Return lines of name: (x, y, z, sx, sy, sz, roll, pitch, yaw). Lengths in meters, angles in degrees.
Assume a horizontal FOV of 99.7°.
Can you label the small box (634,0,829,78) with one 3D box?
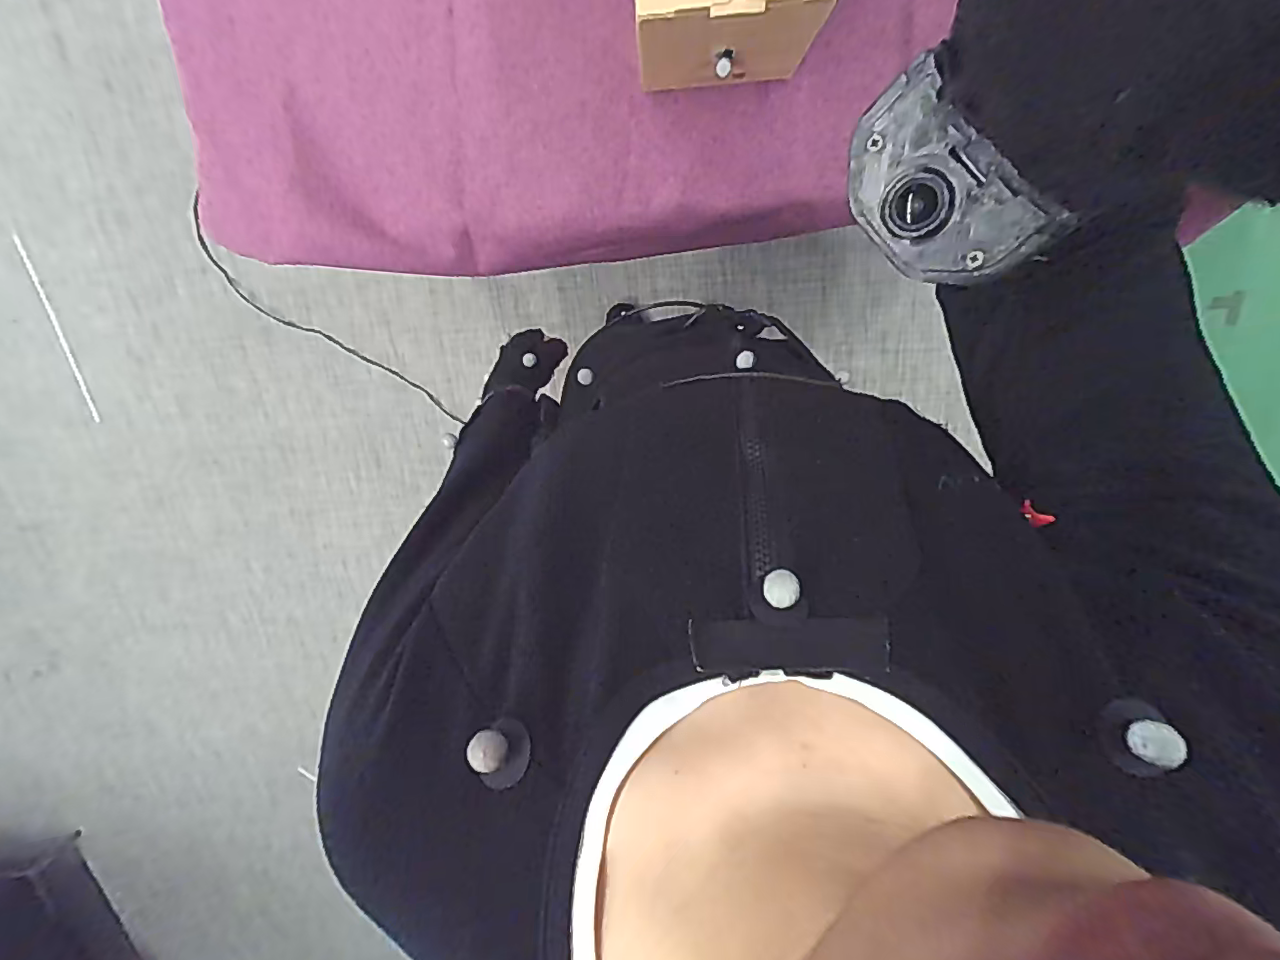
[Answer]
small box: (0.075, -0.489, 0.483, 0.168, 0.176, 0.179, -4, 109, 3)
